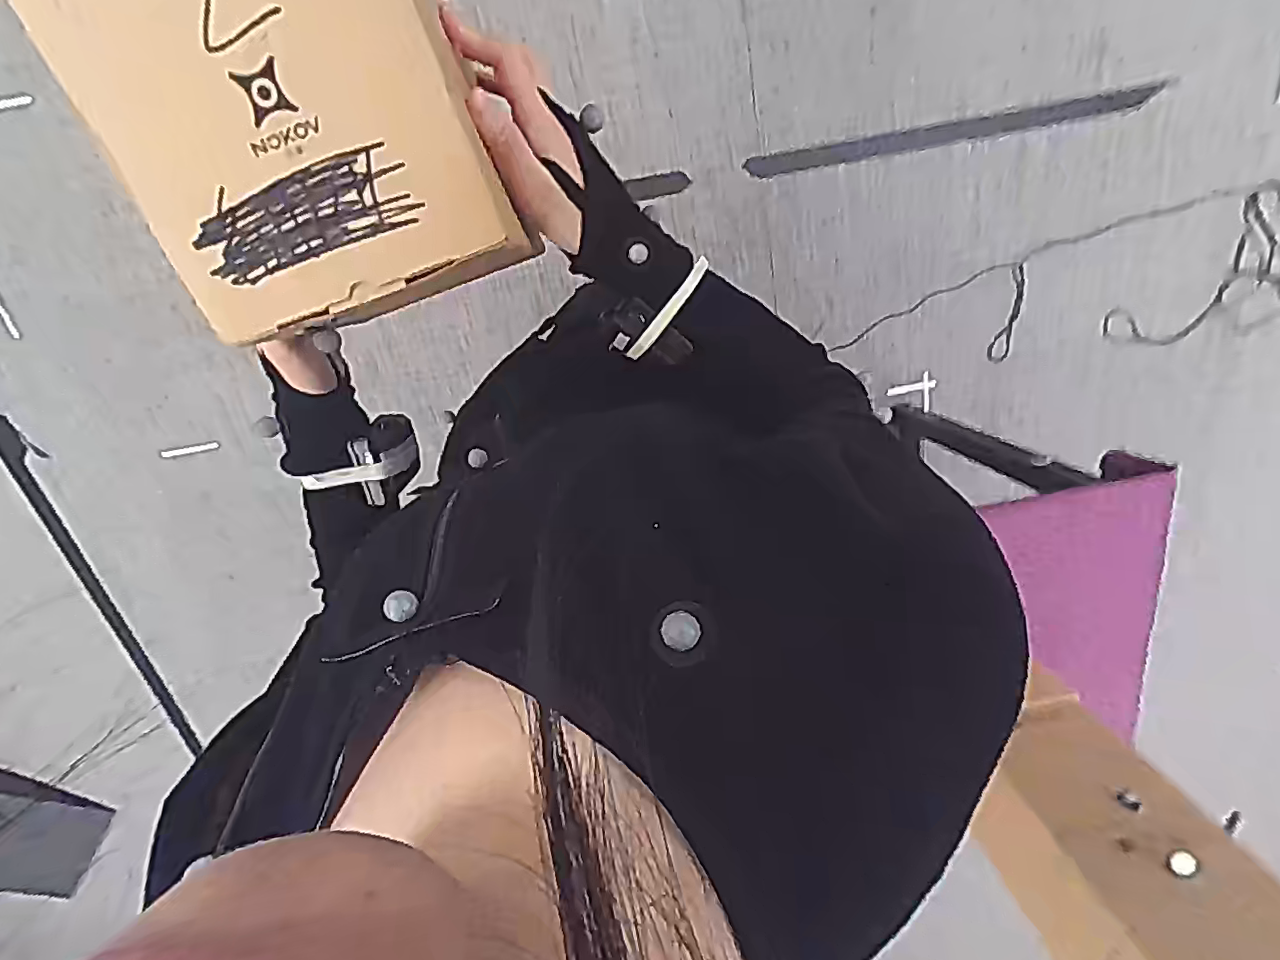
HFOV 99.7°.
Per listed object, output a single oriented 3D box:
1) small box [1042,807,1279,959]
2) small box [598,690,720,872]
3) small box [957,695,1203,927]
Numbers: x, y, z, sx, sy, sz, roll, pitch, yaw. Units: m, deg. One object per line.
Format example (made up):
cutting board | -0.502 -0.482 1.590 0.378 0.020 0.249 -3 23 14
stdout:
small box | 0.535 0.462 0.526 0.168 0.176 0.179 -10 110 0
small box | 0.026 0.458 0.838 0.168 0.176 0.179 -6 110 -2
small box | 0.529 0.407 0.681 0.168 0.176 0.179 -11 111 0
